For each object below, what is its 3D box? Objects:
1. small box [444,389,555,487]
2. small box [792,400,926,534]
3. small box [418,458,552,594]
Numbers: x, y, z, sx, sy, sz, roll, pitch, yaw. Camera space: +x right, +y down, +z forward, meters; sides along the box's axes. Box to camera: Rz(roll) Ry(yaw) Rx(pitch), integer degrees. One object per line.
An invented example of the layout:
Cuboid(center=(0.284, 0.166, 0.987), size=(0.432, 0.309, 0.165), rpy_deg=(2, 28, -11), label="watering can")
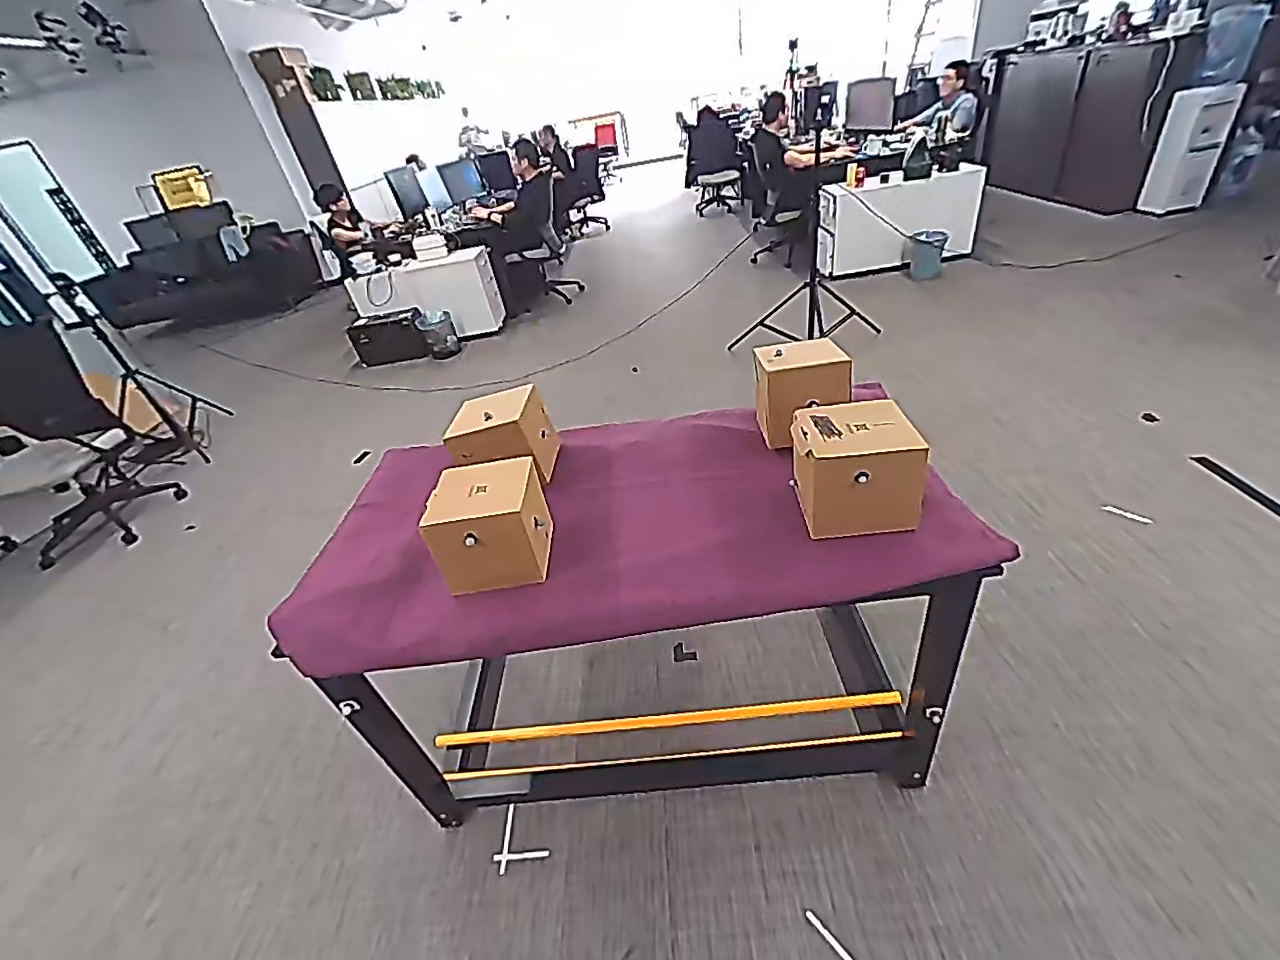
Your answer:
Cuboid(center=(-0.298, -0.083, 1.200), size=(0.179, 0.168, 0.176), rpy_deg=(-12, 33, 11), label="small box")
Cuboid(center=(0.370, -0.020, 0.944), size=(0.179, 0.176, 0.168), rpy_deg=(-6, 34, 7), label="small box")
Cuboid(center=(-0.266, 0.084, 0.983), size=(0.179, 0.176, 0.168), rpy_deg=(-9, 35, 3), label="small box")
